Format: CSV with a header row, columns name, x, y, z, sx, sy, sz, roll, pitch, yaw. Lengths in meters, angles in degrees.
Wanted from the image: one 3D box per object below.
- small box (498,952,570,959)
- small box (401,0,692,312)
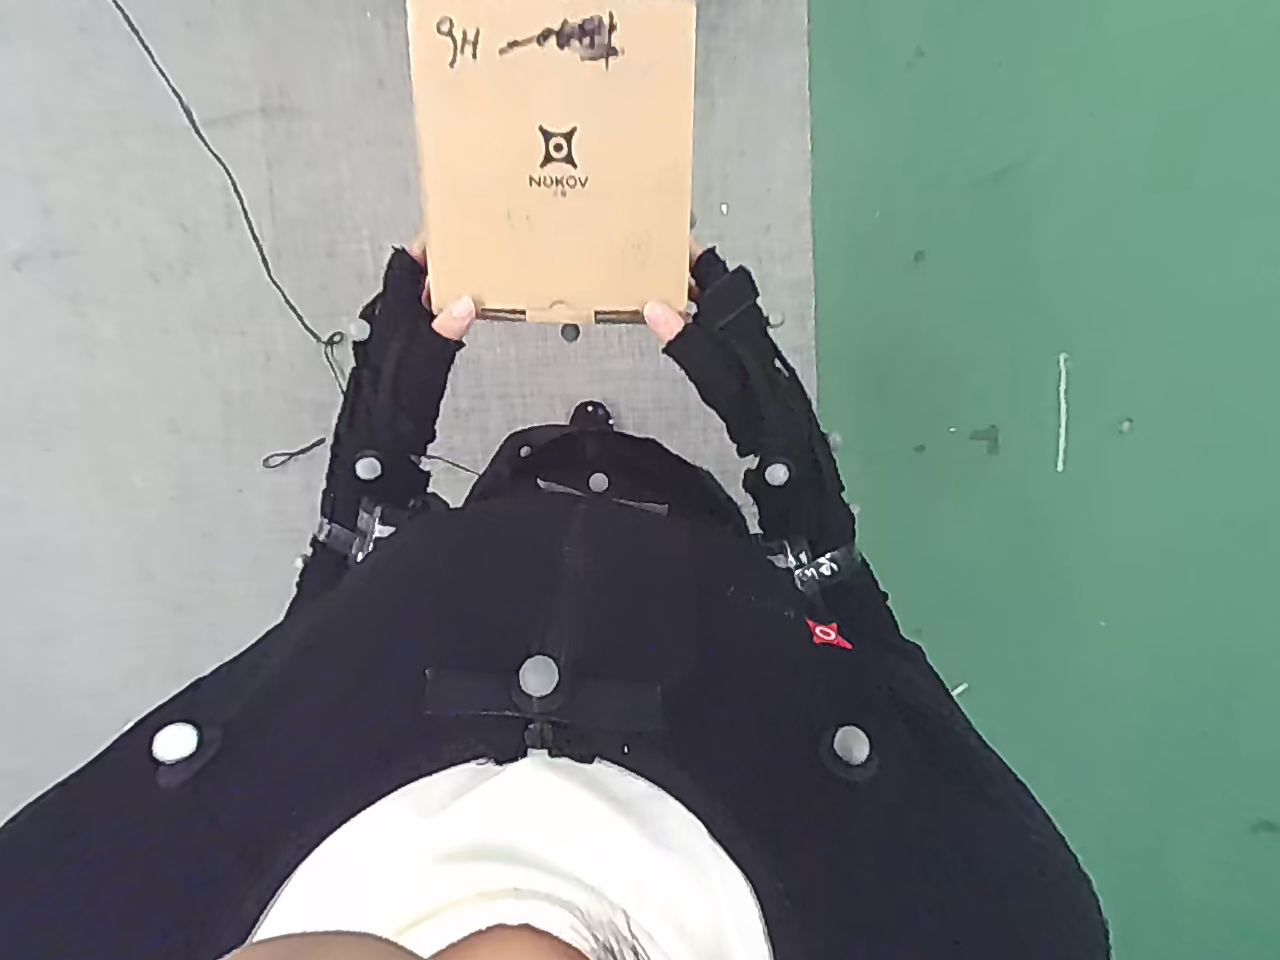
name,x,y,z,sx,sy,sz,roll,pitch,yaw
small box,-0.238,1.151,1.144,0.179,0.176,0.168,-4,94,1
small box,-0.053,-0.218,0.401,0.168,0.176,0.179,0,106,-1
